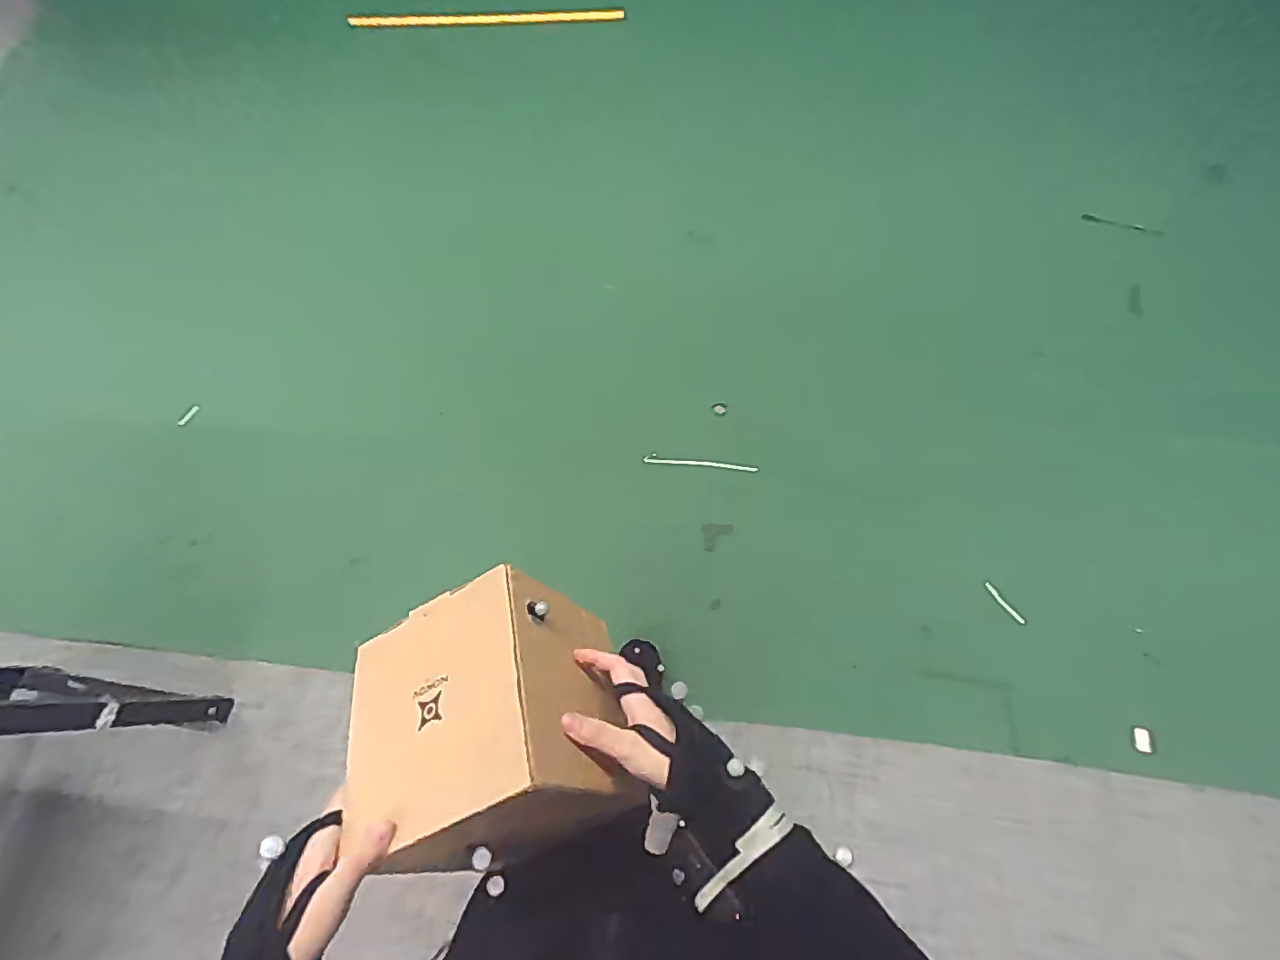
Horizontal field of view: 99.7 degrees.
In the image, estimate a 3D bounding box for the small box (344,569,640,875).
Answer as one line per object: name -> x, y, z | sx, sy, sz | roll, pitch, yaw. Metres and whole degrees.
small box -> -0.119, 0.213, 0.470 | 0.168, 0.176, 0.179 | -30, 47, 11
